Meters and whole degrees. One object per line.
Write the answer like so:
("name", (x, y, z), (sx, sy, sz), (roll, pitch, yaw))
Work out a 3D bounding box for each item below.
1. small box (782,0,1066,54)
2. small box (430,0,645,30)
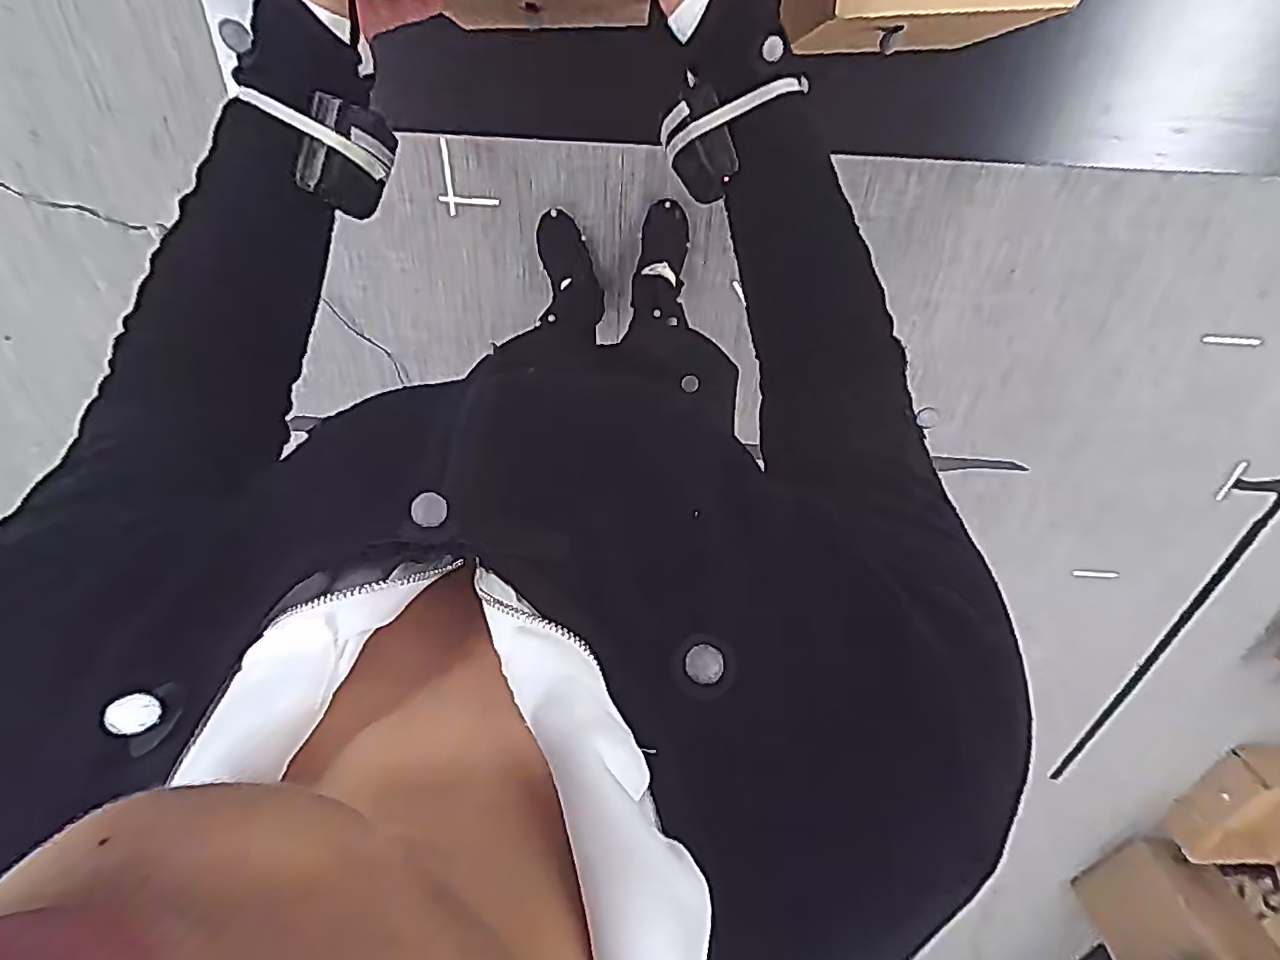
("small box", (0.216, -0.443, 0.413), (0.179, 0.176, 0.168), (-1, 121, 1))
("small box", (-0.079, -0.457, 0.402), (0.179, 0.176, 0.168), (0, 121, 1))
